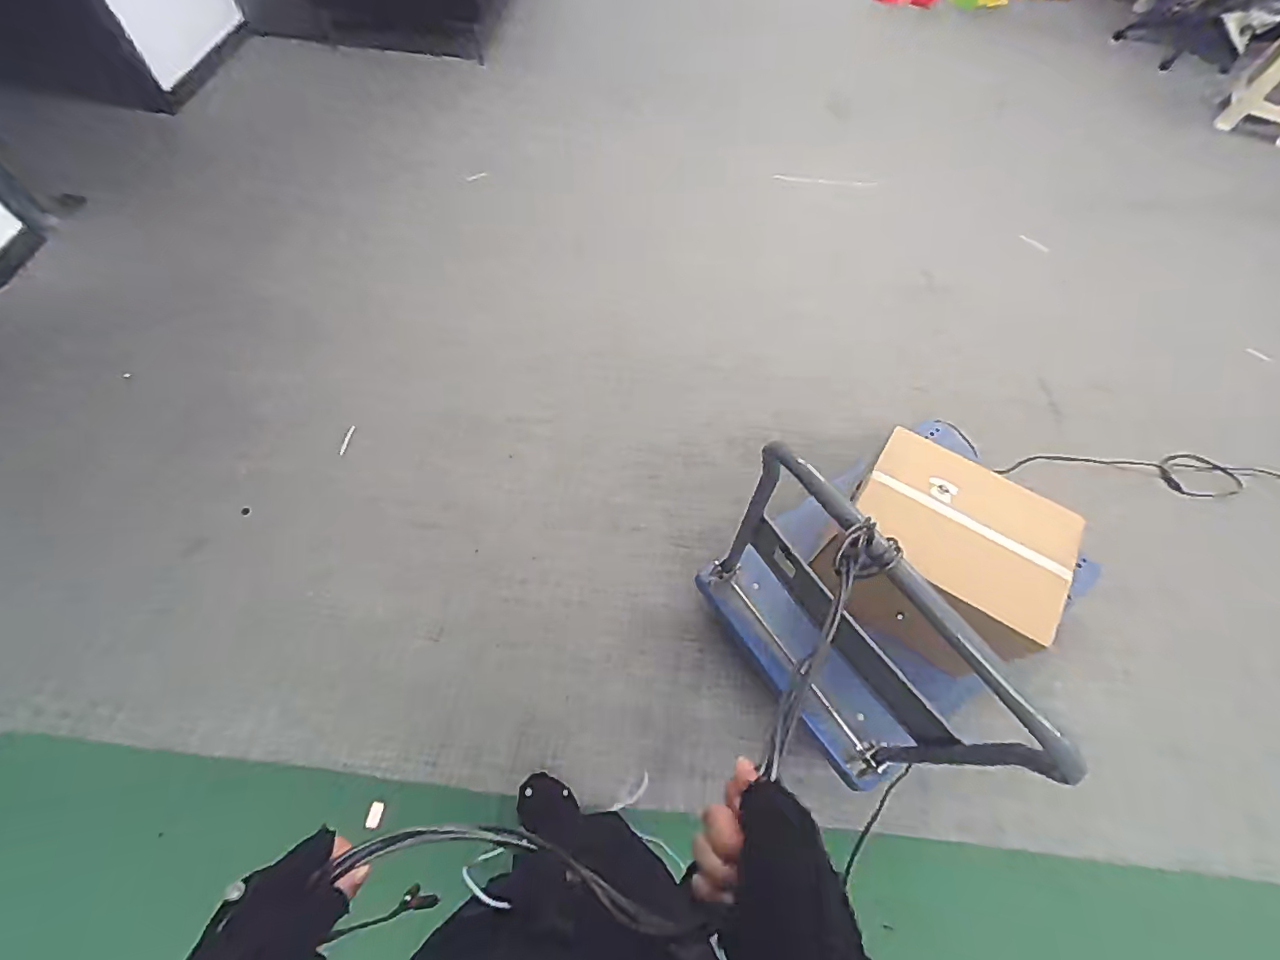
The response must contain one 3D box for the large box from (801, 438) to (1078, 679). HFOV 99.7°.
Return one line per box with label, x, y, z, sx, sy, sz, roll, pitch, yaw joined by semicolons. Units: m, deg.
large box;0.640;0.182;1.209;0.408;0.320;0.320;30;63;15
